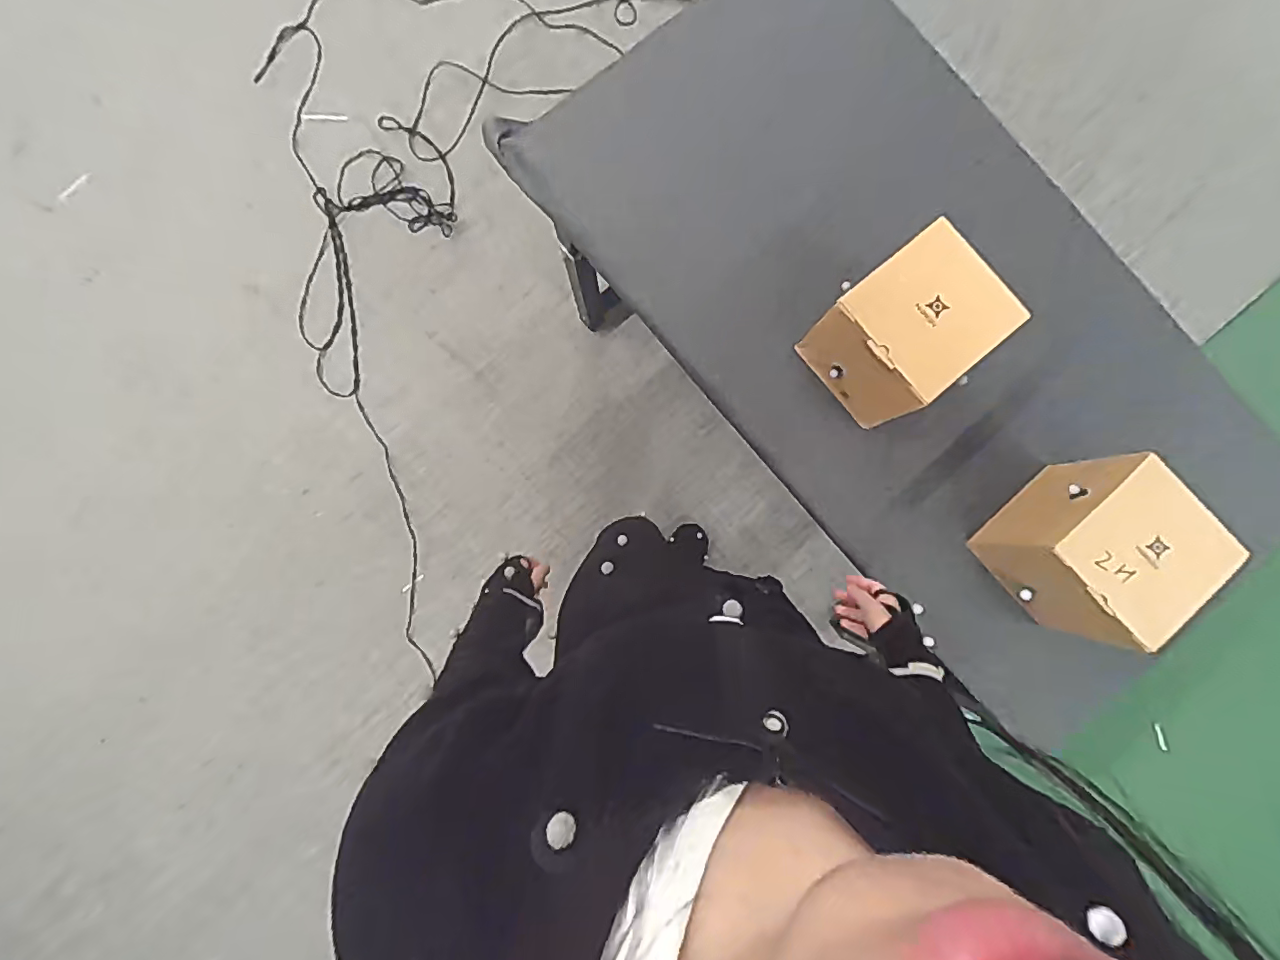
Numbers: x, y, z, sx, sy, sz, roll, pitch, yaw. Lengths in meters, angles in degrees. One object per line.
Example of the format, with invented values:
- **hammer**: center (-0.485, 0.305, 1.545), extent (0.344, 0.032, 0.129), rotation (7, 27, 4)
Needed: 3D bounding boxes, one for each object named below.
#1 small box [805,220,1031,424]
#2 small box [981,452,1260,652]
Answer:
- **small box**: center (0.357, -0.199, 0.731), extent (0.179, 0.176, 0.168), rotation (-40, 87, -3)
- **small box**: center (0.602, 0.088, 0.705), extent (0.179, 0.176, 0.168), rotation (-42, 86, -3)
